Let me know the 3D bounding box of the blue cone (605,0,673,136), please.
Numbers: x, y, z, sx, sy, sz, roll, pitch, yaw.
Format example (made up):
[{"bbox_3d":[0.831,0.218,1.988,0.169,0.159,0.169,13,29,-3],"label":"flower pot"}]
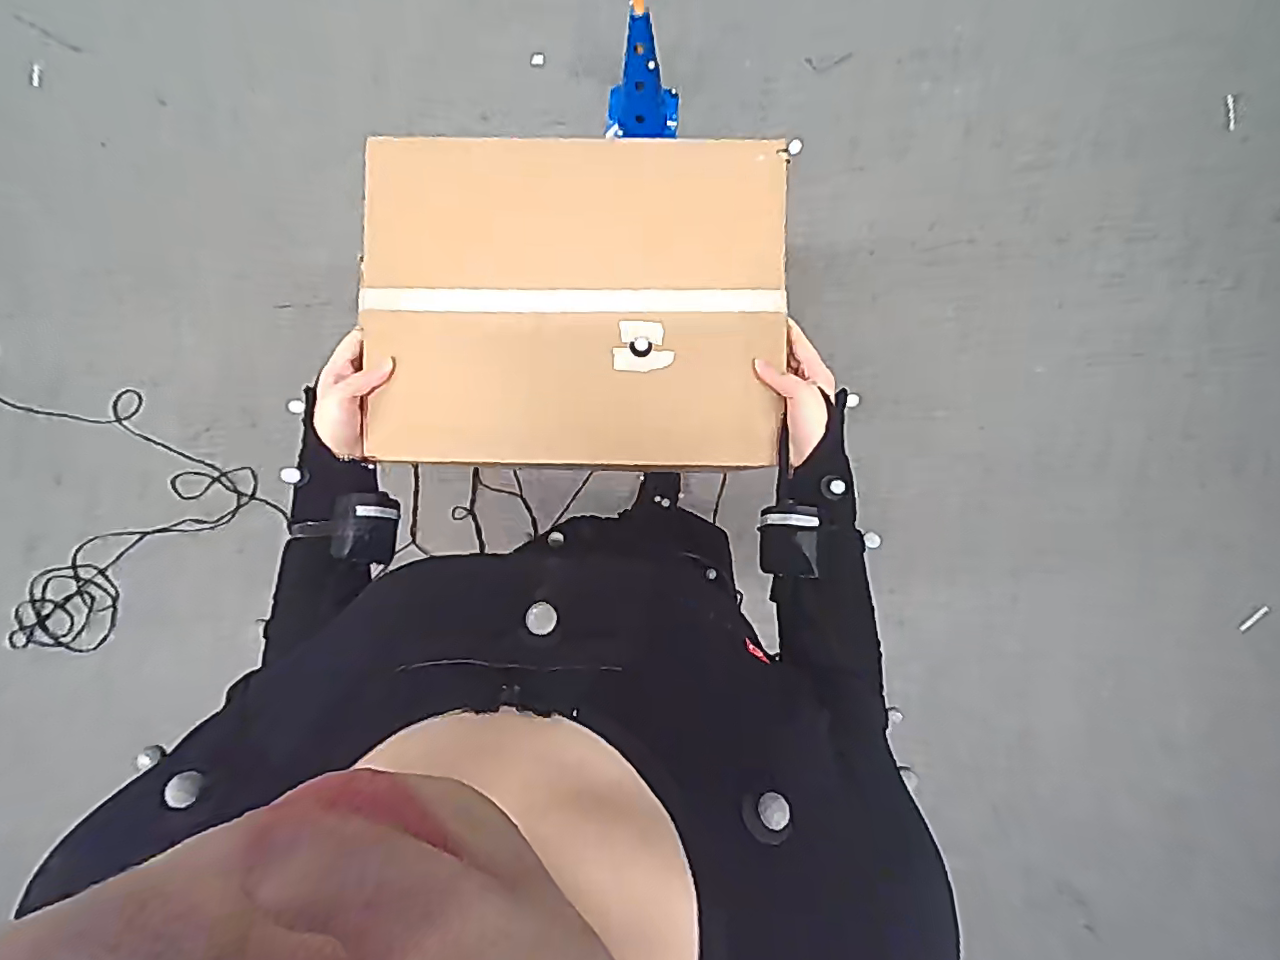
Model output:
[{"bbox_3d":[-0.005,-1.052,1.389,0.193,0.380,0.192,7,87,1],"label":"blue cone"}]

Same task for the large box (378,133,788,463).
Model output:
[{"bbox_3d":[-0.058,-0.182,0.674,0.408,0.320,0.320,1,91,-1],"label":"large box"}]
